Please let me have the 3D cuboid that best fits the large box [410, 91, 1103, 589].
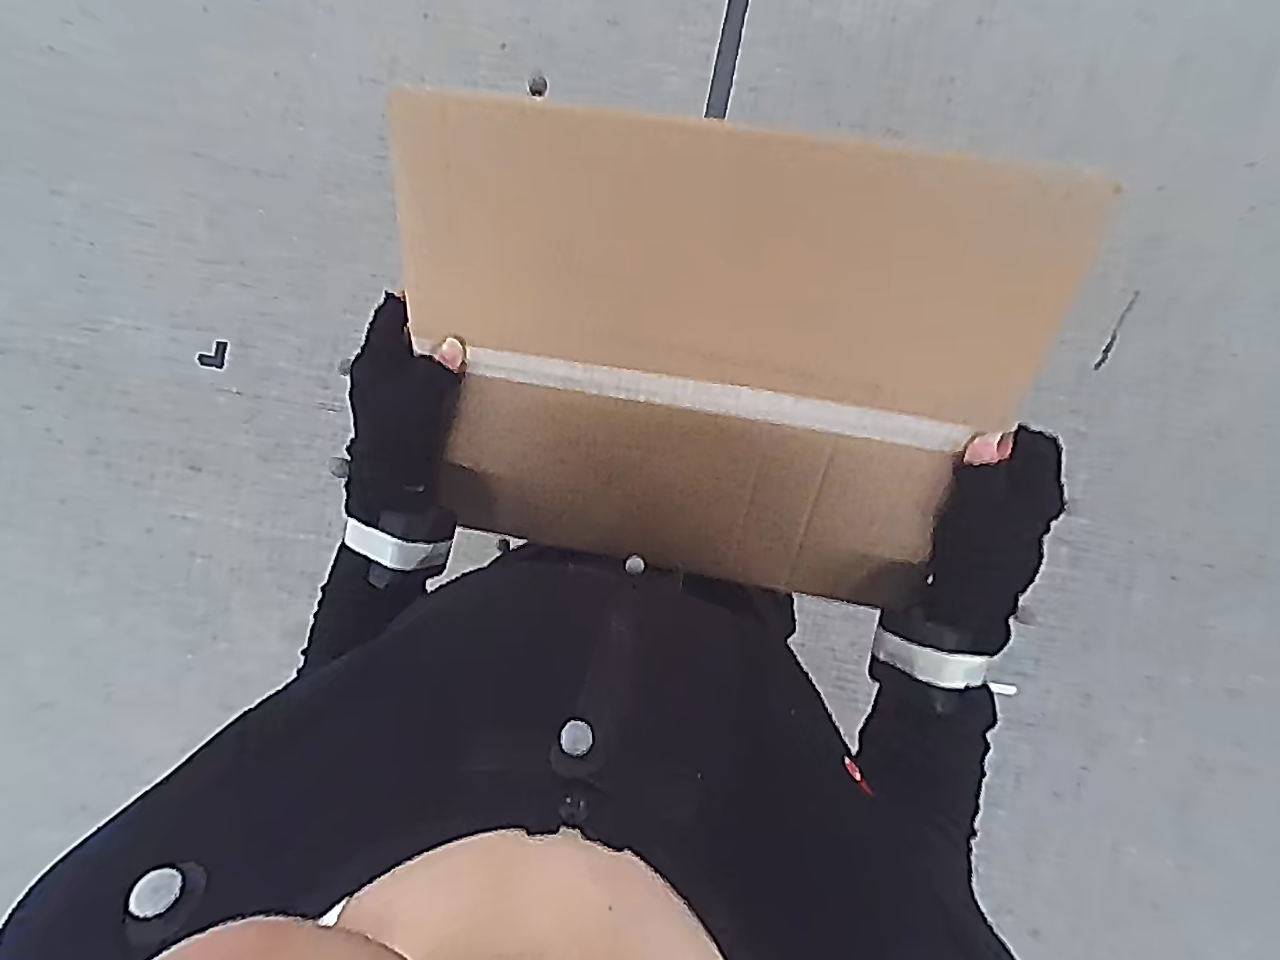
[{"bbox_3d":[0.063,-0.145,0.510,0.408,0.320,0.320,10,123,5],"label":"large box"}]
